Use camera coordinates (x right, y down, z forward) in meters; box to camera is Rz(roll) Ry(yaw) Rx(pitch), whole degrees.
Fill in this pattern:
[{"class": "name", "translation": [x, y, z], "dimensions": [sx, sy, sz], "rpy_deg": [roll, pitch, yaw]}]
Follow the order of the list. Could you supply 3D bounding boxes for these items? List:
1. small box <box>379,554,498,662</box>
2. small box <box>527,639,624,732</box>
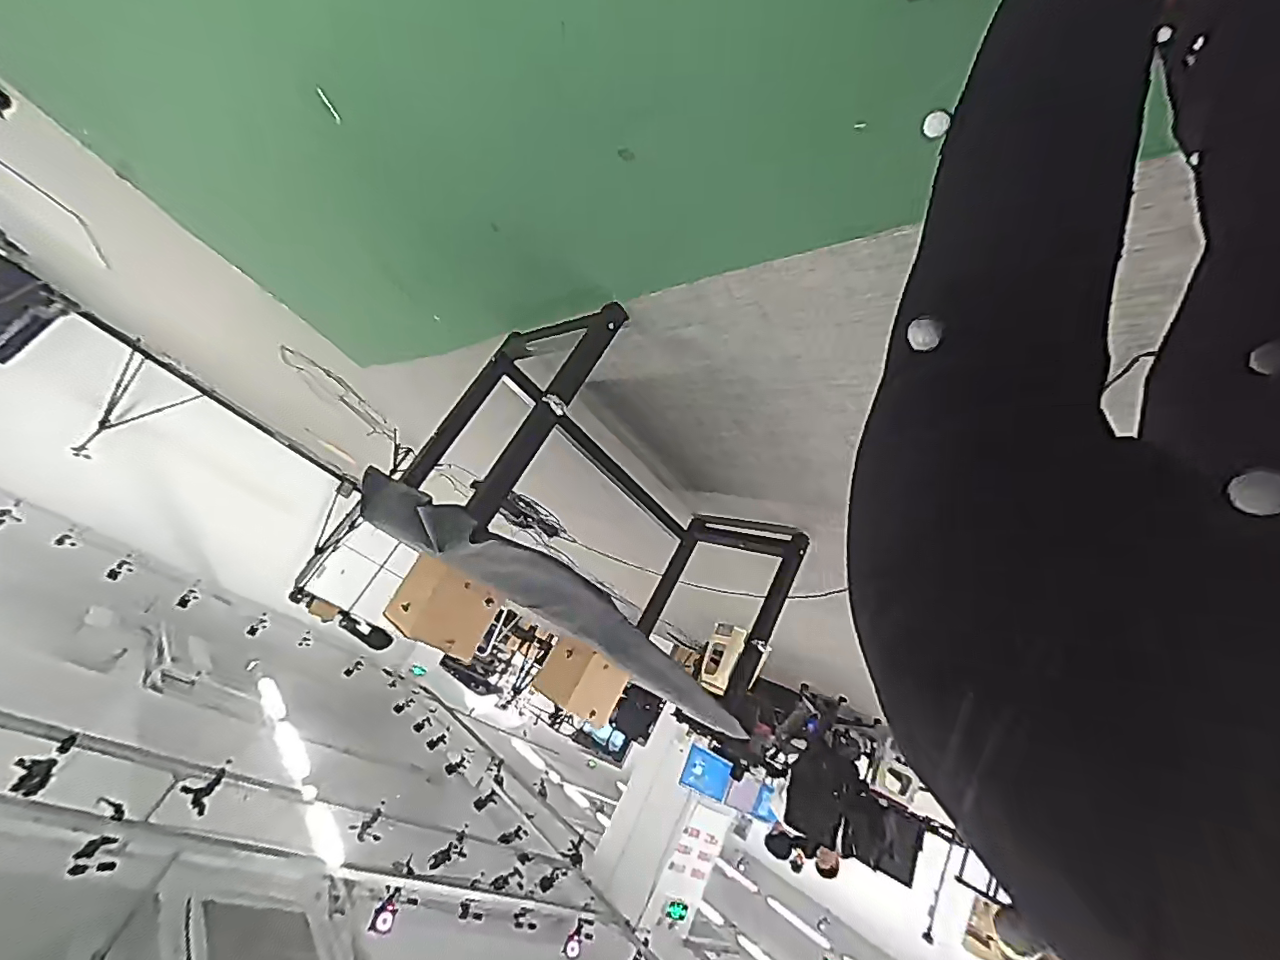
[{"class": "small box", "translation": [-0.455, 0.287, 1.241], "dimensions": [0.179, 0.176, 0.168], "rpy_deg": [8, 152, 49]}, {"class": "small box", "translation": [-0.178, 0.571, 1.530], "dimensions": [0.179, 0.176, 0.168], "rpy_deg": [7, 149, 49]}]
